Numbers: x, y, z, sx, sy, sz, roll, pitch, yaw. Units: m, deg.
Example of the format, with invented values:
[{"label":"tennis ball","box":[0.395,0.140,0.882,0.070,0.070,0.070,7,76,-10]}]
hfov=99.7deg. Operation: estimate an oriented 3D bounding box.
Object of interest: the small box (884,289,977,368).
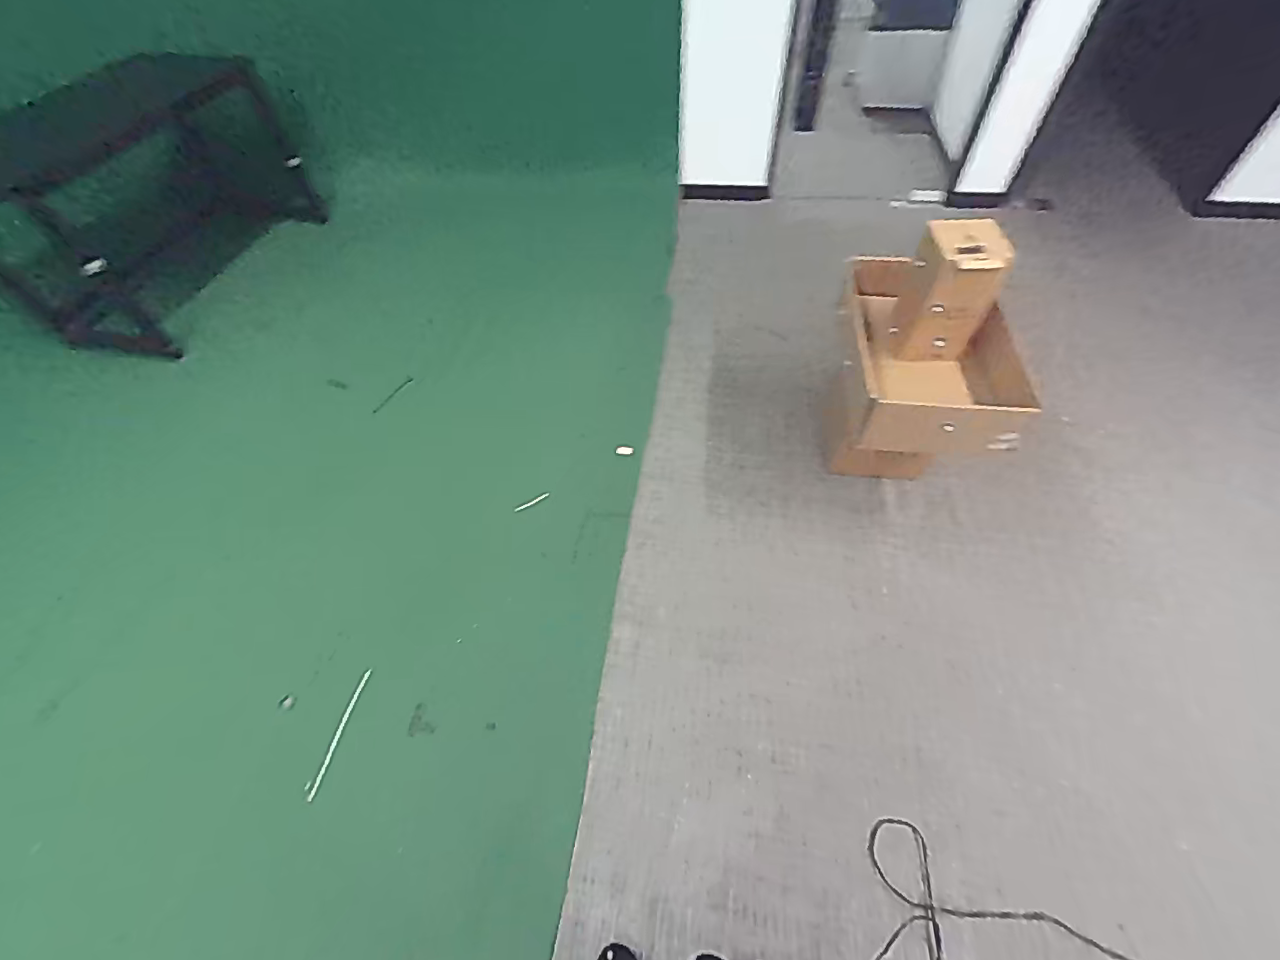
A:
[{"label":"small box","box":[0.826,-0.441,1.556,0.168,0.176,0.179,2,57,3]}]

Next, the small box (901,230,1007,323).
[{"label":"small box","box":[0.812,-0.529,1.417,0.168,0.176,0.179,0,55,2]}]
